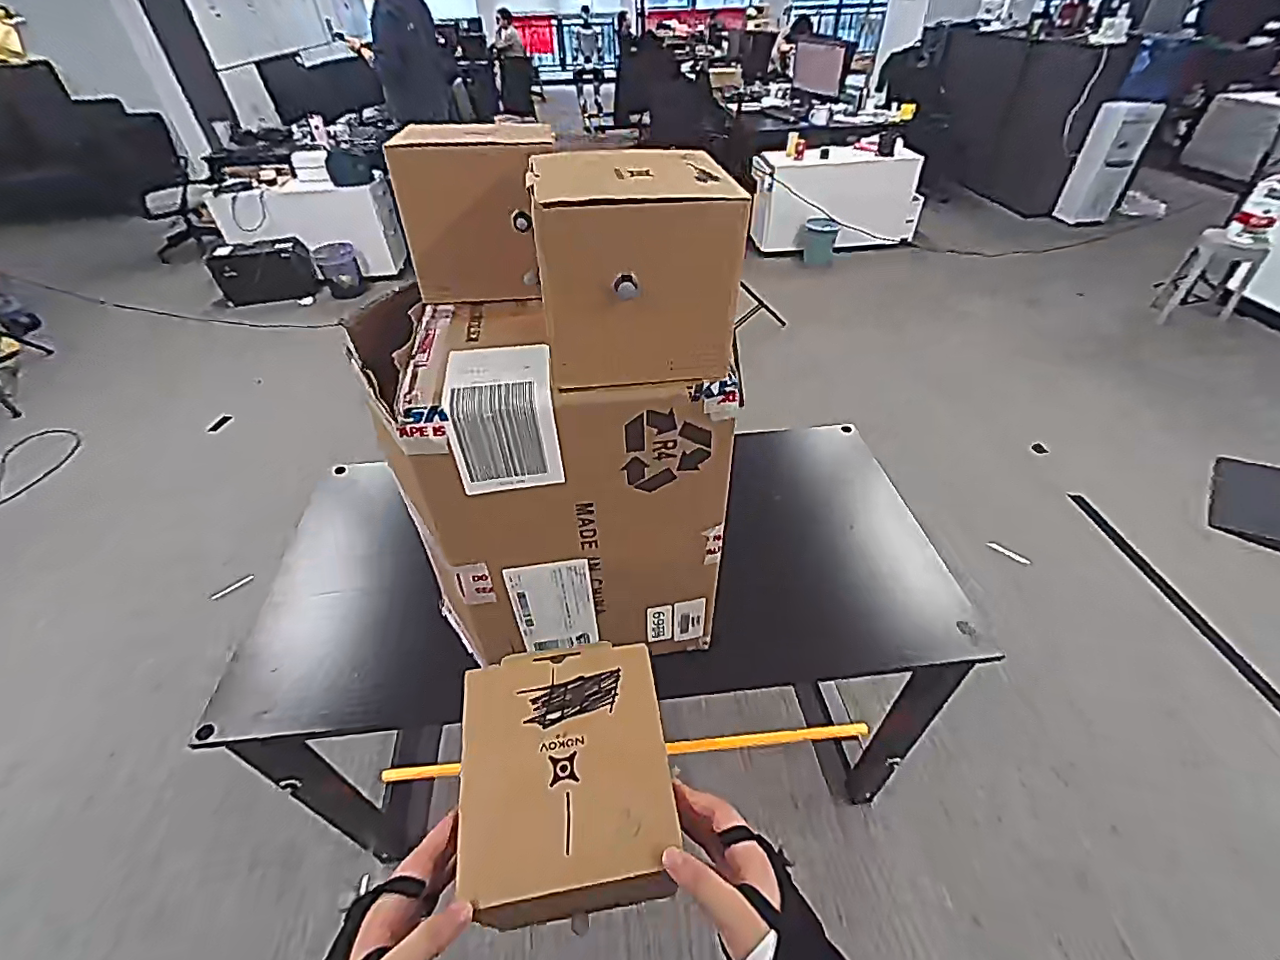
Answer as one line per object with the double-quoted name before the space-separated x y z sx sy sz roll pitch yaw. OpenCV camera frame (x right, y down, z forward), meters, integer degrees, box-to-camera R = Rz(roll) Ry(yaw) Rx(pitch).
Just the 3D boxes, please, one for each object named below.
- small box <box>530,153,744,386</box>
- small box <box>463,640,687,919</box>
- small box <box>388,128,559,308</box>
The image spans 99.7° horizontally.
"small box" -0.009 -0.208 0.540 0.179 0.176 0.168 -7 44 -6
"small box" -0.059 0.278 0.505 0.168 0.176 0.179 -7 47 -6
"small box" -0.185 -0.328 0.676 0.179 0.176 0.168 -6 39 -6
